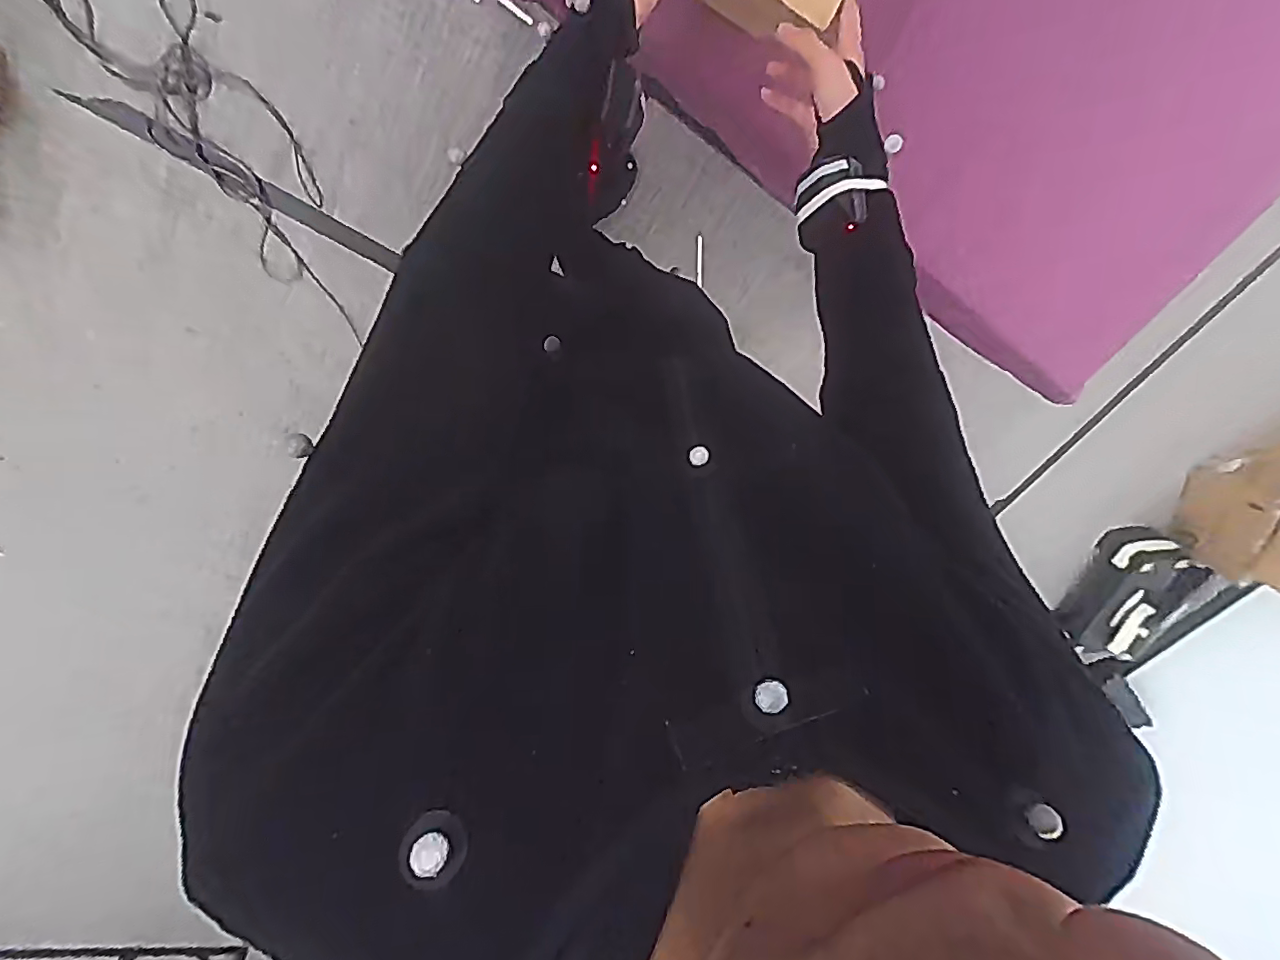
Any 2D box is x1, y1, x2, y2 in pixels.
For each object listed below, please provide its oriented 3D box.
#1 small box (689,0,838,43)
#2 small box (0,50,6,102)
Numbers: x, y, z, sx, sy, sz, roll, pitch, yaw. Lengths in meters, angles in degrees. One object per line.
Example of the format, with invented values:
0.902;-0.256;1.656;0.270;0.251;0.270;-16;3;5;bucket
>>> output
0.104;-0.529;0.479;0.179;0.176;0.168;15;122;-23;small box
-1.292;-0.735;0.942;0.179;0.176;0.168;25;116;-27;small box
